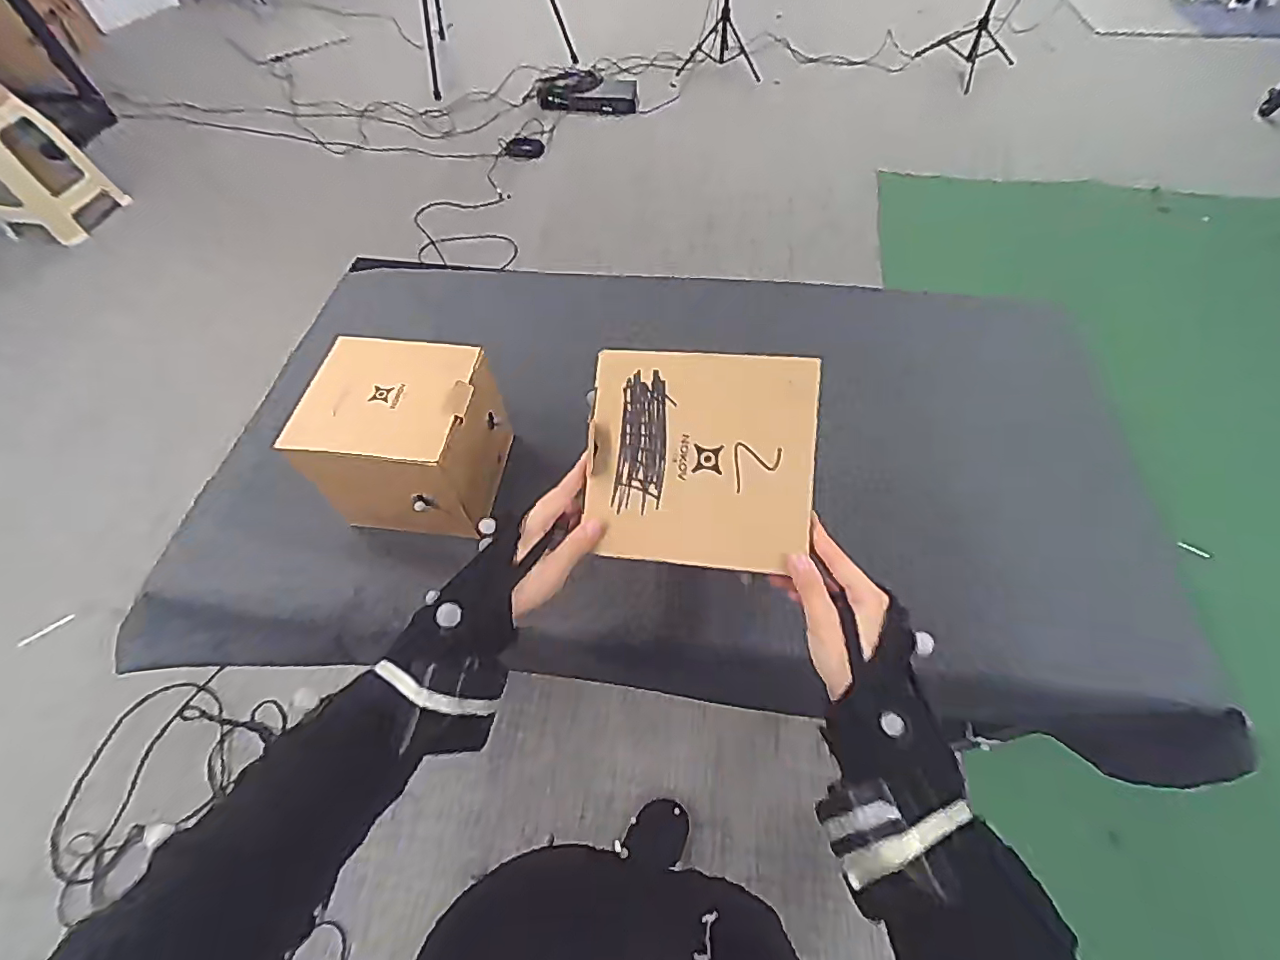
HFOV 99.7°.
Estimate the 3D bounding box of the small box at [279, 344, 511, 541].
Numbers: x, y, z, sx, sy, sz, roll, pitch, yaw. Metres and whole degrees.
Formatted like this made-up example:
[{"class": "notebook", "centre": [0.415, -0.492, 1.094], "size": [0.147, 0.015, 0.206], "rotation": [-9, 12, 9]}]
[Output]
[{"class": "small box", "centre": [-0.267, -0.039, 0.646], "size": [0.179, 0.176, 0.168], "rotation": [4, 56, 5]}]
